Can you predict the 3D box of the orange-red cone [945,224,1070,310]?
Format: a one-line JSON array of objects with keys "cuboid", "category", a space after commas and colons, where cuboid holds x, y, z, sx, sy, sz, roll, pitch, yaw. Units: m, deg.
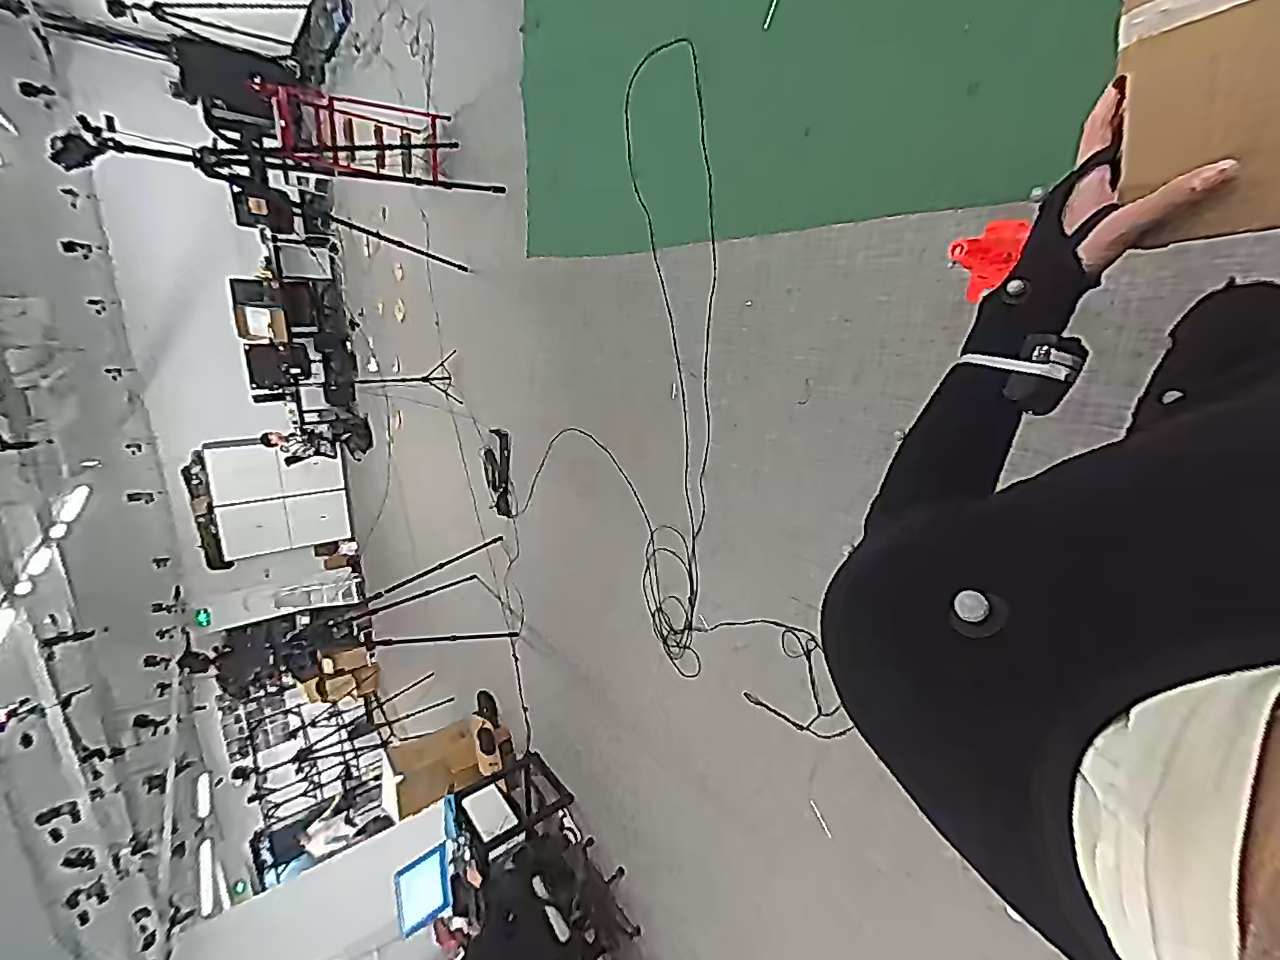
[{"cuboid": [0.816, -0.521, 1.275, 0.199, 0.360, 0.198, 32, 122, 46], "category": "orange-red cone"}]
